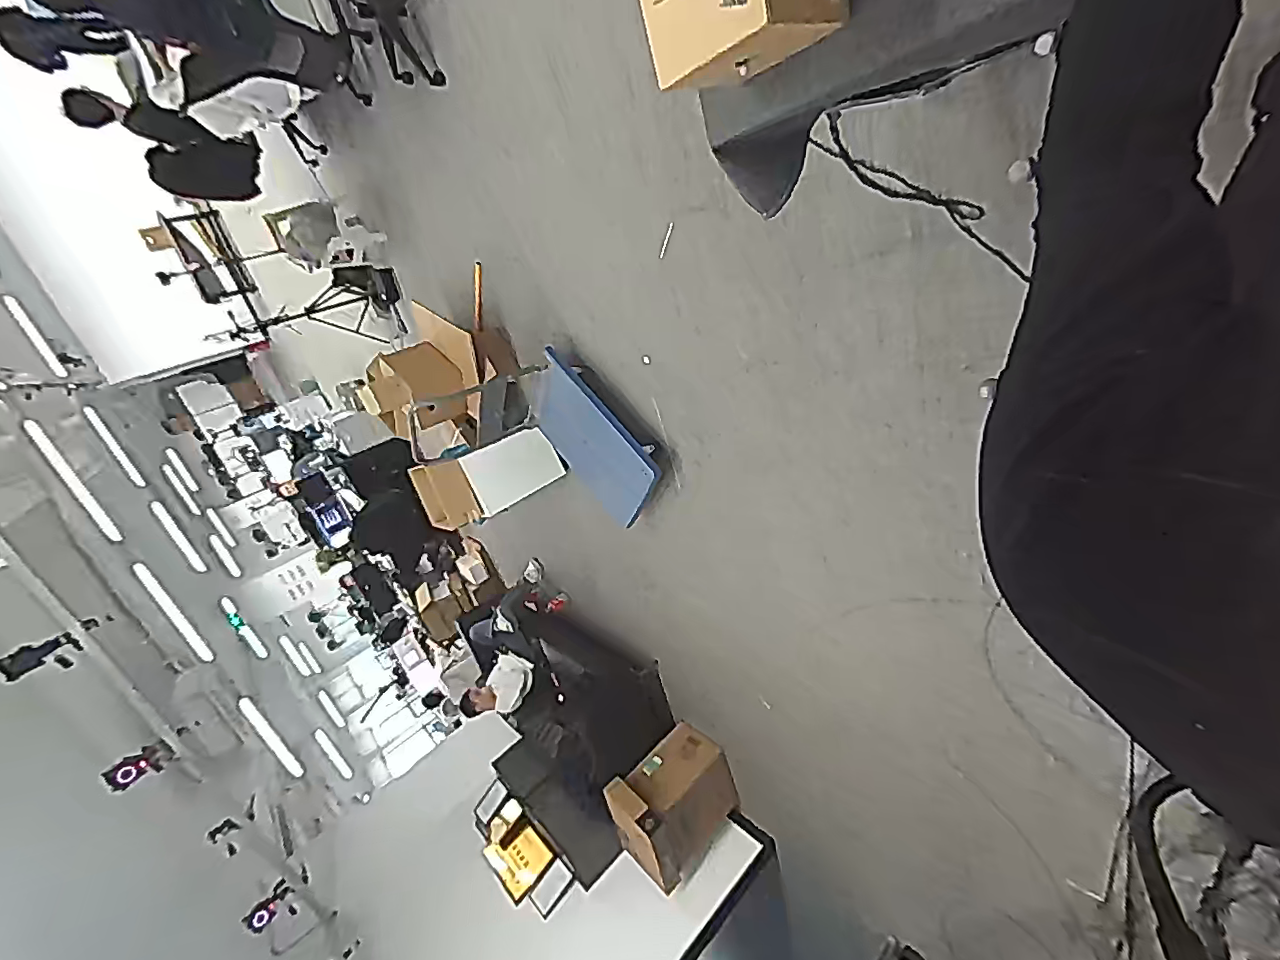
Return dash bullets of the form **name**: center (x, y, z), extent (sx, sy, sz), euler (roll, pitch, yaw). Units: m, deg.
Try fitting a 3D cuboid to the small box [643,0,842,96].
- **small box**: center (0.123, -0.595, 0.649), extent (0.179, 0.176, 0.168), euler (11, 125, 50)
